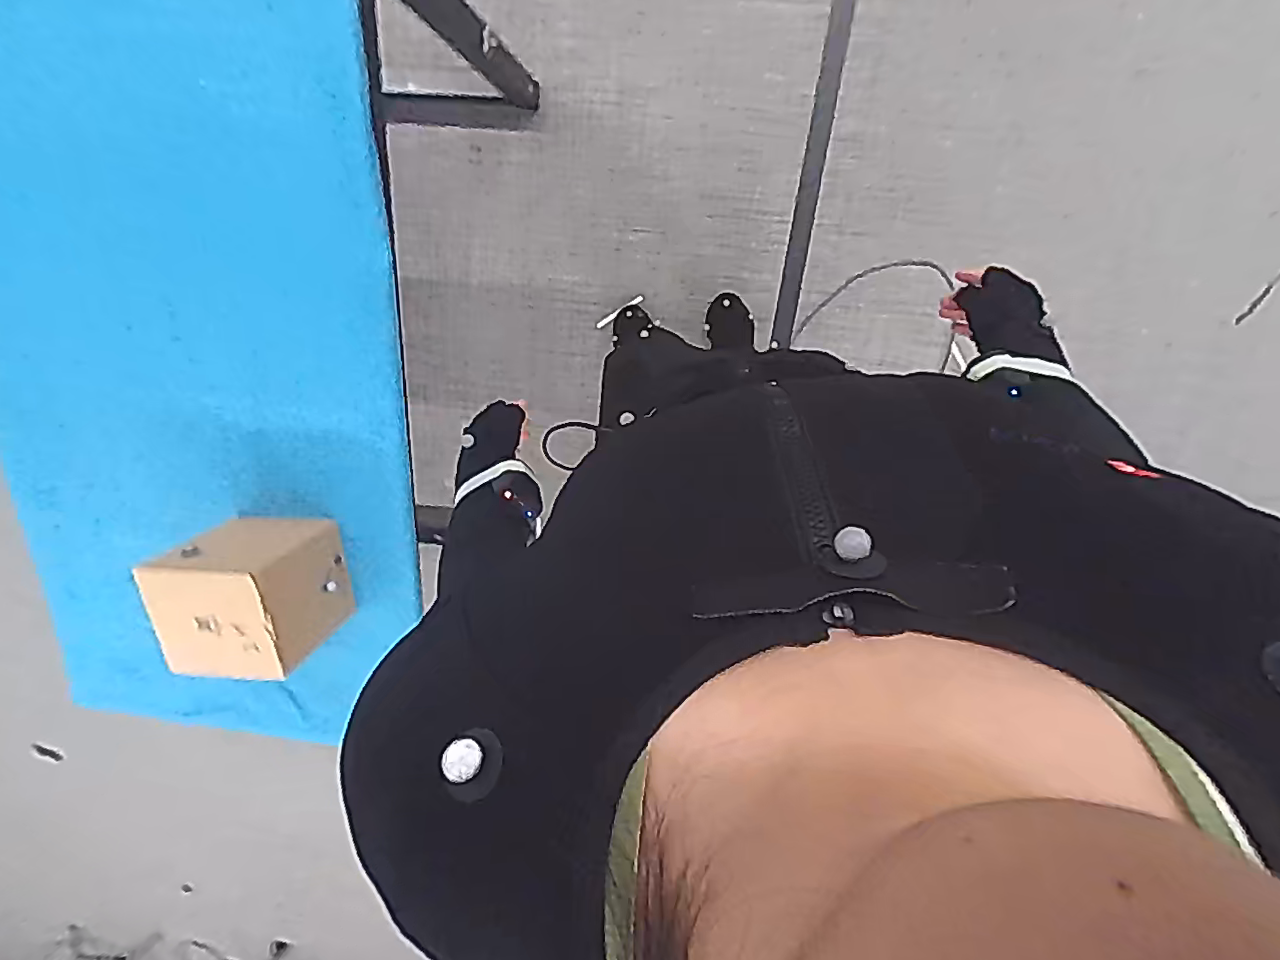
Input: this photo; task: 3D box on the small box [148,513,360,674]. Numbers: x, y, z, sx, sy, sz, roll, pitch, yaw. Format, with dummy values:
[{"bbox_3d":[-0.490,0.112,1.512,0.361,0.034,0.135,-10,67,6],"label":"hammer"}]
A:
[{"bbox_3d":[-0.554,0.158,0.803,0.179,0.176,0.168,4,112,4],"label":"small box"}]
